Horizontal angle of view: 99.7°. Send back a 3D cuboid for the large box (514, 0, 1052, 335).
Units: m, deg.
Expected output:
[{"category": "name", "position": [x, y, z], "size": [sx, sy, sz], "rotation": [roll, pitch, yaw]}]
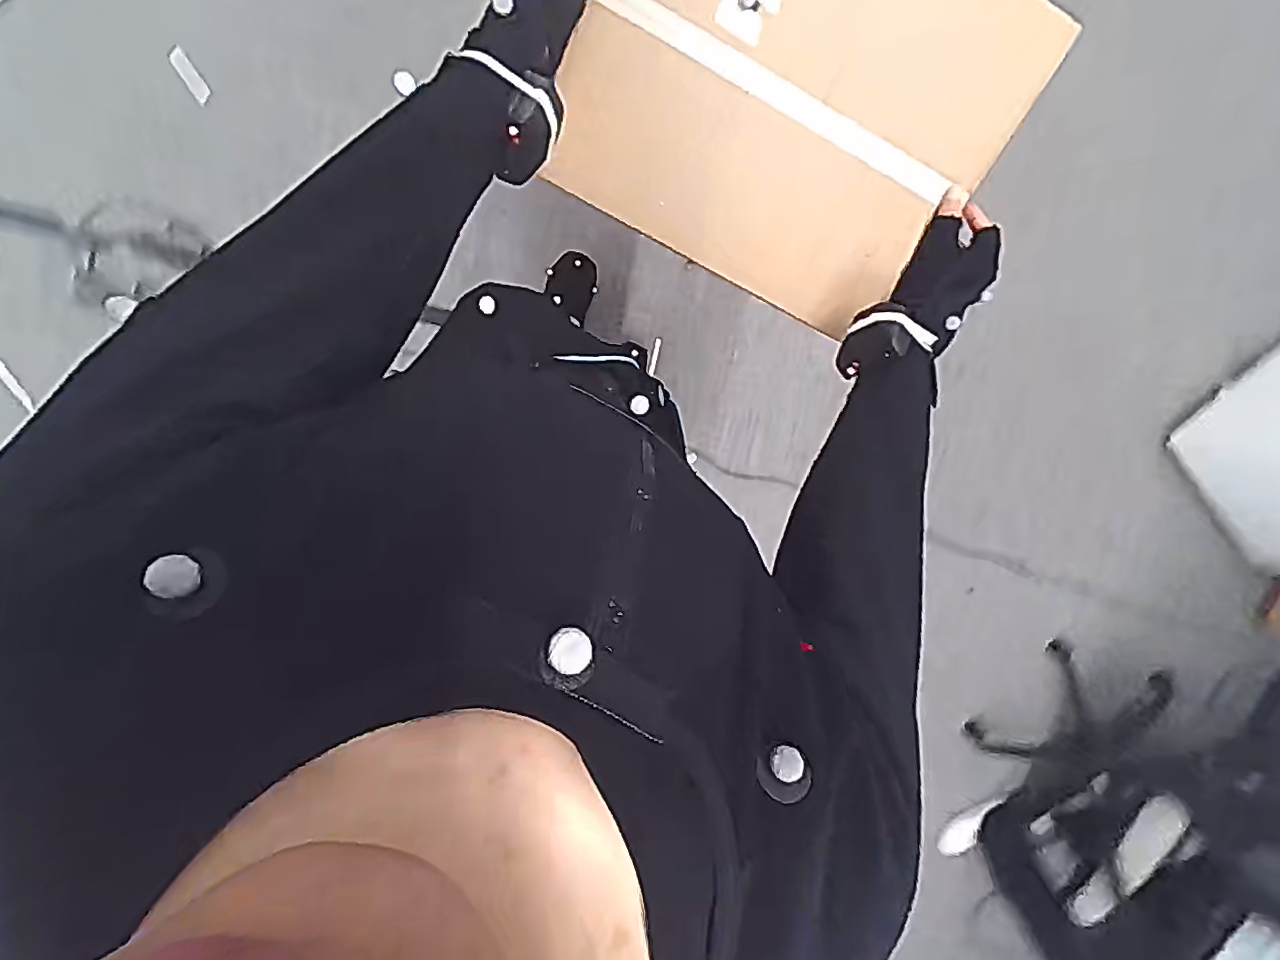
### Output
[{"category": "large box", "position": [0.127, -0.417, 0.636], "size": [0.408, 0.320, 0.320], "rotation": [25, 113, -7]}]
